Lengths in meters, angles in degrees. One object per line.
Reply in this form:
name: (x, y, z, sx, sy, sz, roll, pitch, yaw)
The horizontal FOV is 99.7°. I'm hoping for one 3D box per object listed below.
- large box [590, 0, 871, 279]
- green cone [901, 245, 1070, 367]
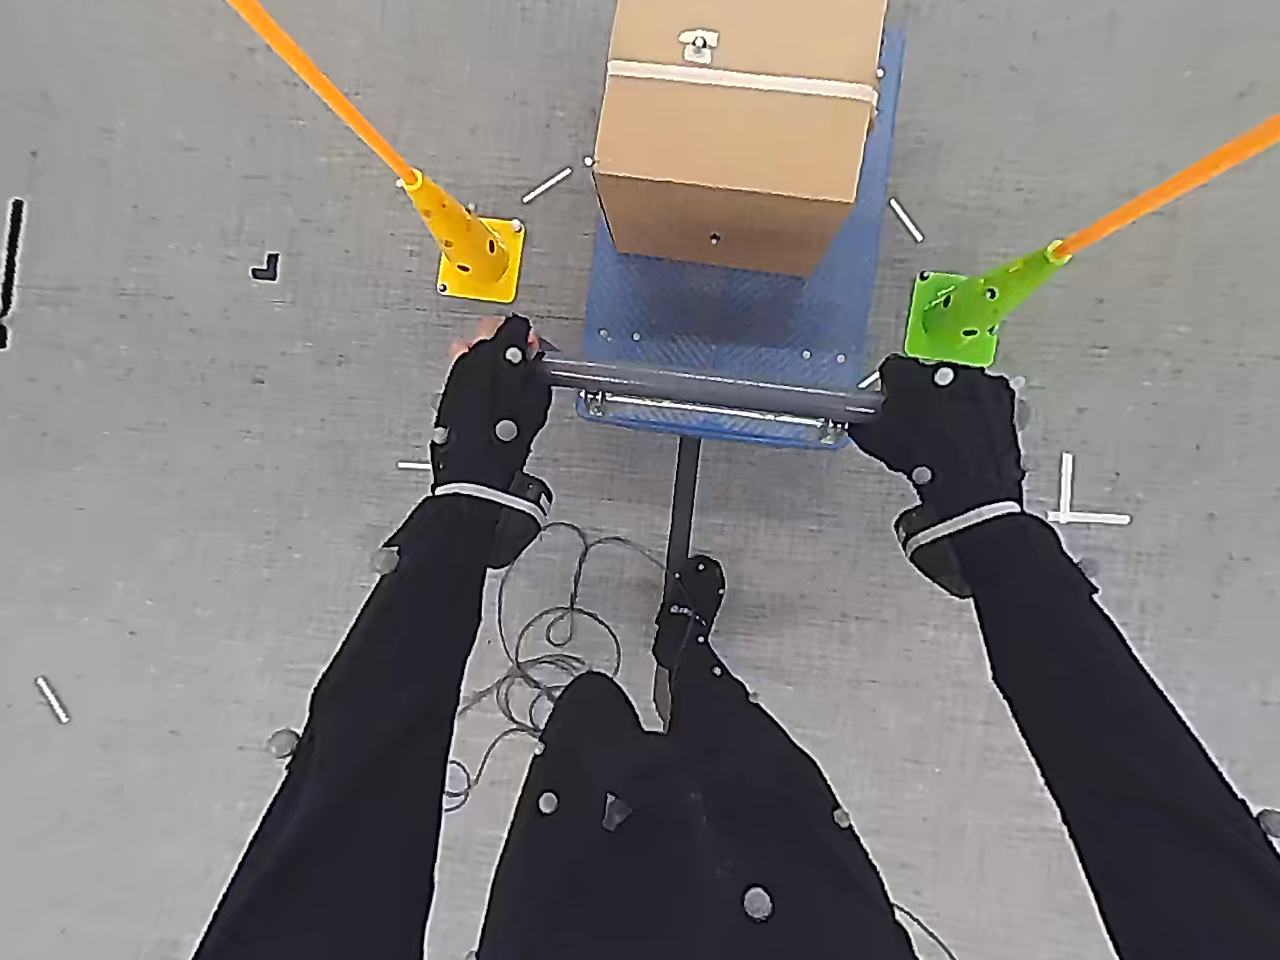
large box: (0.151, -0.585, 0.986, 0.408, 0.320, 0.320, 9, 91, 5)
green cone: (0.705, -0.370, 1.081, 0.202, 0.368, 0.200, 9, 91, 4)
